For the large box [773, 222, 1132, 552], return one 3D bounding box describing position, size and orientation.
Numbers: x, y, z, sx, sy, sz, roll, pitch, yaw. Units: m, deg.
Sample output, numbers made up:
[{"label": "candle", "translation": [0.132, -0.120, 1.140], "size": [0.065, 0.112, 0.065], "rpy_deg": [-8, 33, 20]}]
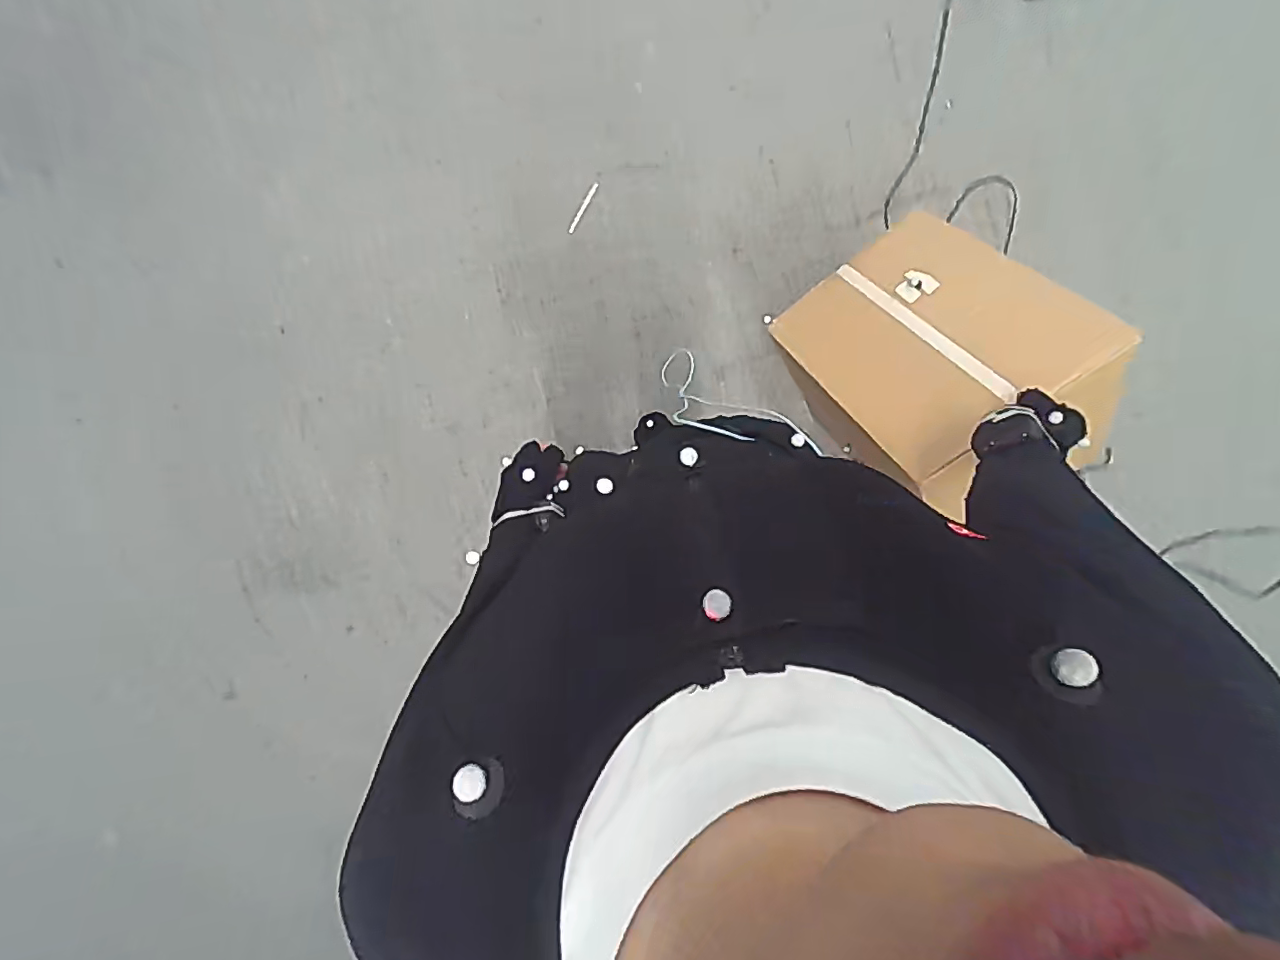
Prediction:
[{"label": "large box", "translation": [0.504, -0.153, 0.936], "size": [0.320, 0.408, 0.320], "rpy_deg": [-36, 140, 11]}]
